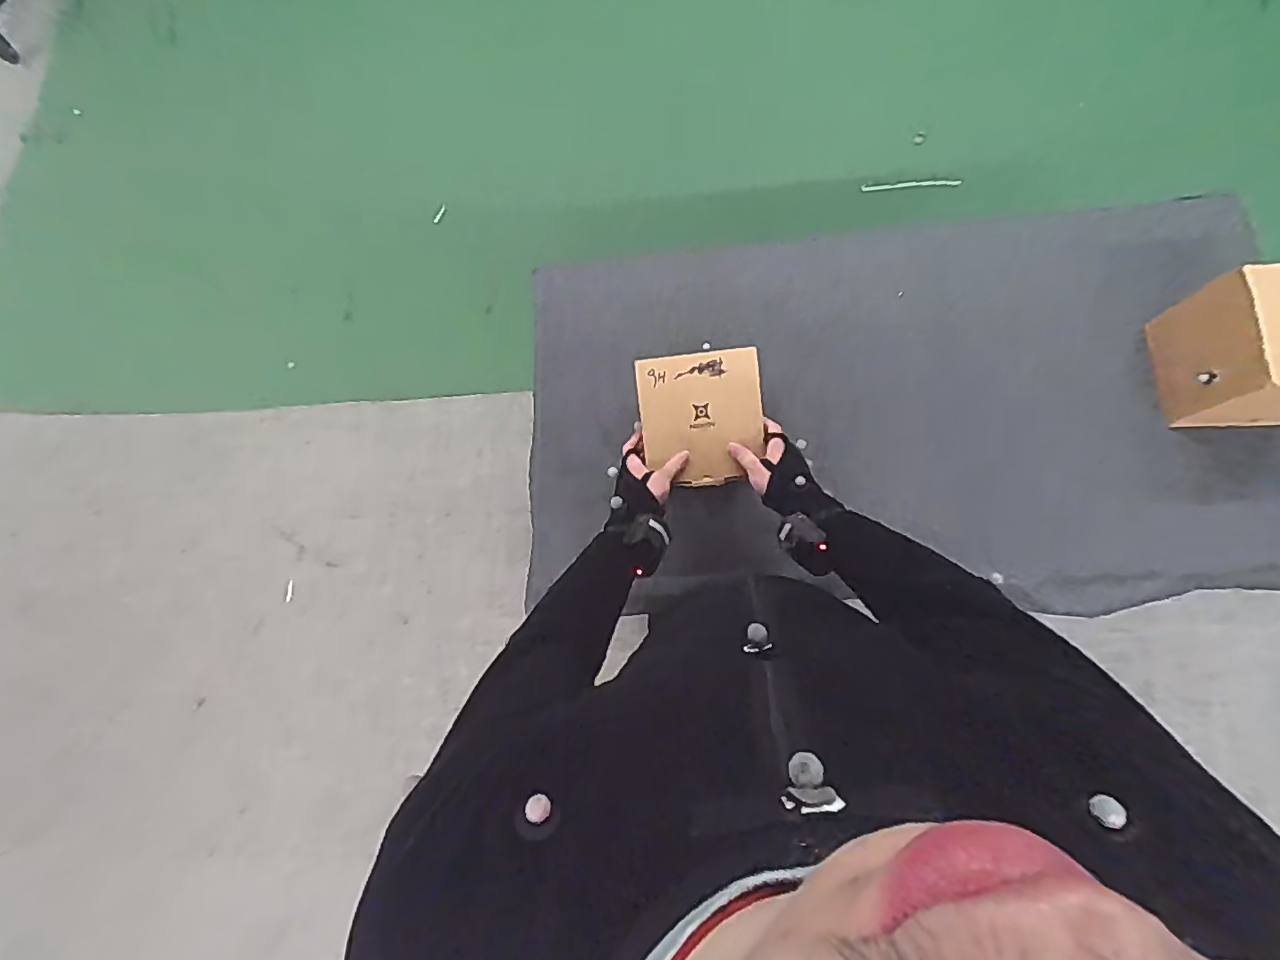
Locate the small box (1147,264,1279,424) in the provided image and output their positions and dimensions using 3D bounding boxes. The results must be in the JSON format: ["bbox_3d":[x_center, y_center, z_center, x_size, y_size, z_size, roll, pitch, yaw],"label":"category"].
[{"bbox_3d":[0.890,-0.184,0.772,0.168,0.176,0.179,-1,76,4],"label":"small box"}]

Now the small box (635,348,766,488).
[{"bbox_3d":[0.087,-0.091,0.803,0.168,0.176,0.179,-6,96,3],"label":"small box"}]
